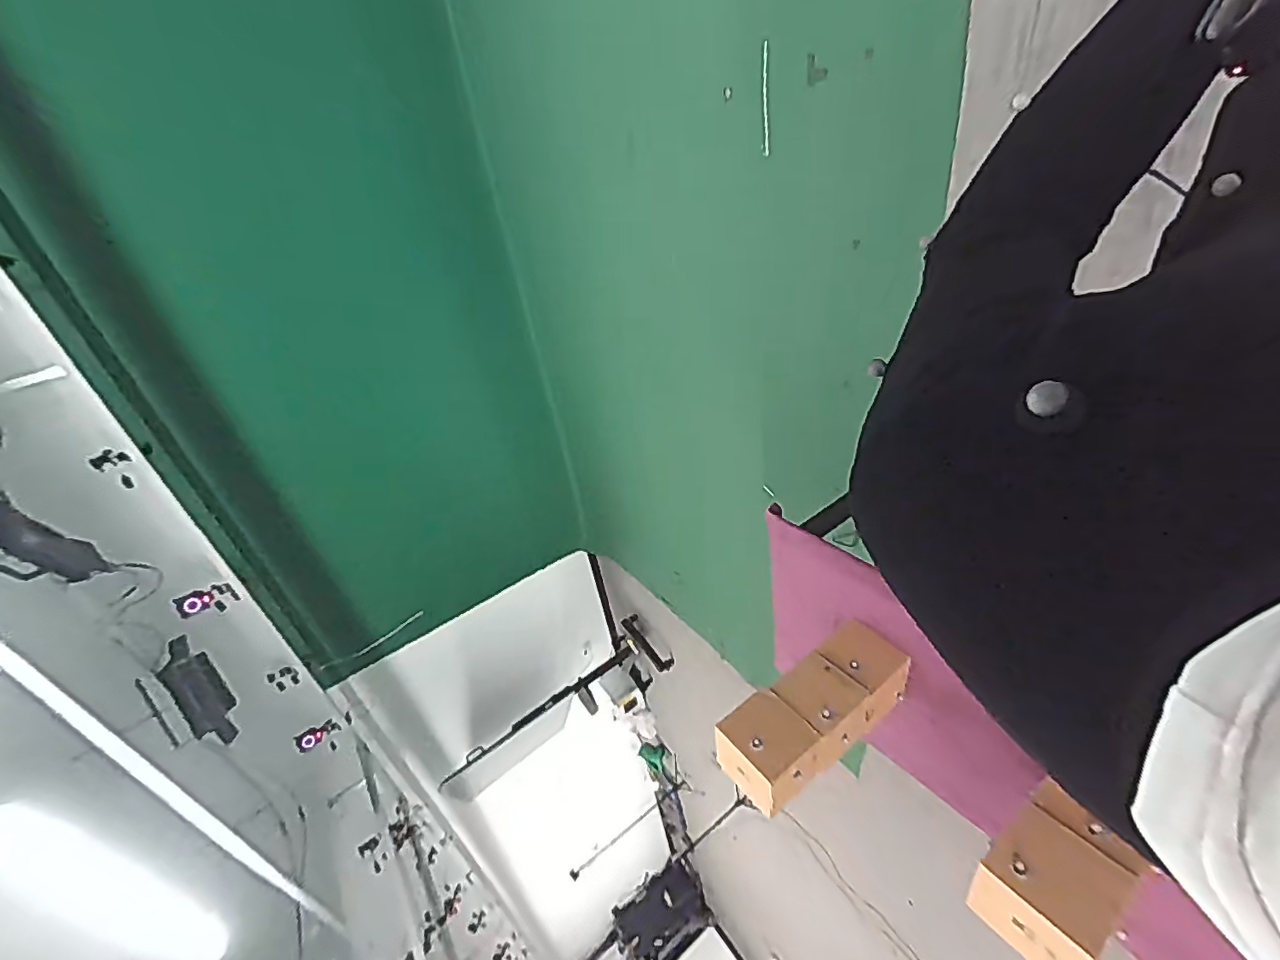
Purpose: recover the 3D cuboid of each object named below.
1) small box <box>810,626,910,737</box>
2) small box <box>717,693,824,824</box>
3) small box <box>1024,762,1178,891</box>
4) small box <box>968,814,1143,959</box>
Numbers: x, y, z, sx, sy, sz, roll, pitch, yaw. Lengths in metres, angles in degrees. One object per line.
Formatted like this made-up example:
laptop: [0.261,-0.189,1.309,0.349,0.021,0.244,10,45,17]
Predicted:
small box: [0.564,0.509,1.392,0.179,0.176,0.168,34,142,46]
small box: [0.299,0.630,1.242,0.179,0.176,0.168,35,143,44]
small box: [0.853,0.673,1.021,0.179,0.176,0.168,28,138,49]
small box: [0.717,0.728,0.944,0.179,0.176,0.168,30,140,48]
